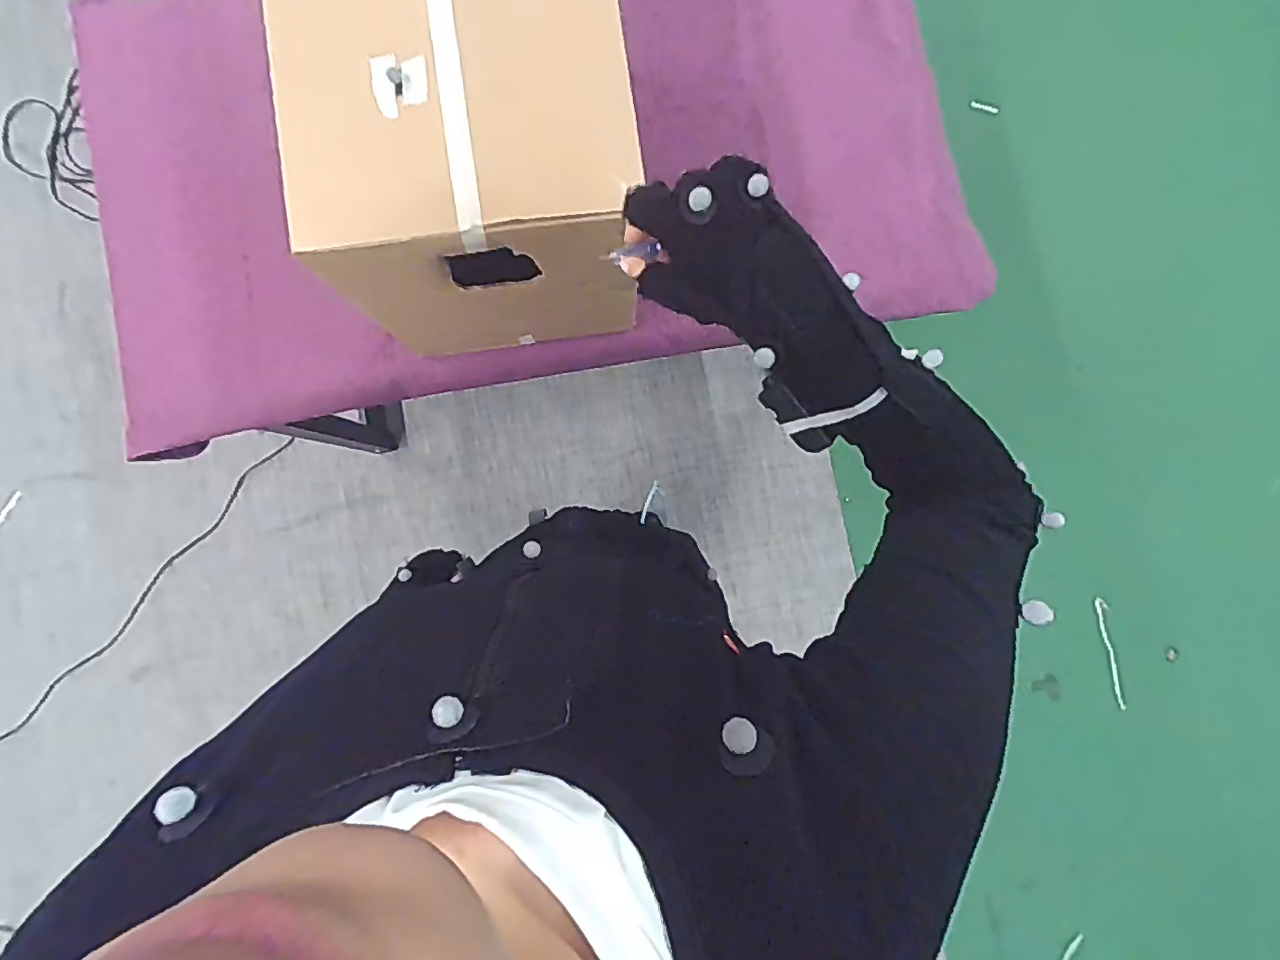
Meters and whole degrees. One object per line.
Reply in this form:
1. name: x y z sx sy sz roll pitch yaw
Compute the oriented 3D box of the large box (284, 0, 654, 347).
1. large box: -0.176 -0.411 0.646 0.320 0.320 0.408 -8 88 -3
